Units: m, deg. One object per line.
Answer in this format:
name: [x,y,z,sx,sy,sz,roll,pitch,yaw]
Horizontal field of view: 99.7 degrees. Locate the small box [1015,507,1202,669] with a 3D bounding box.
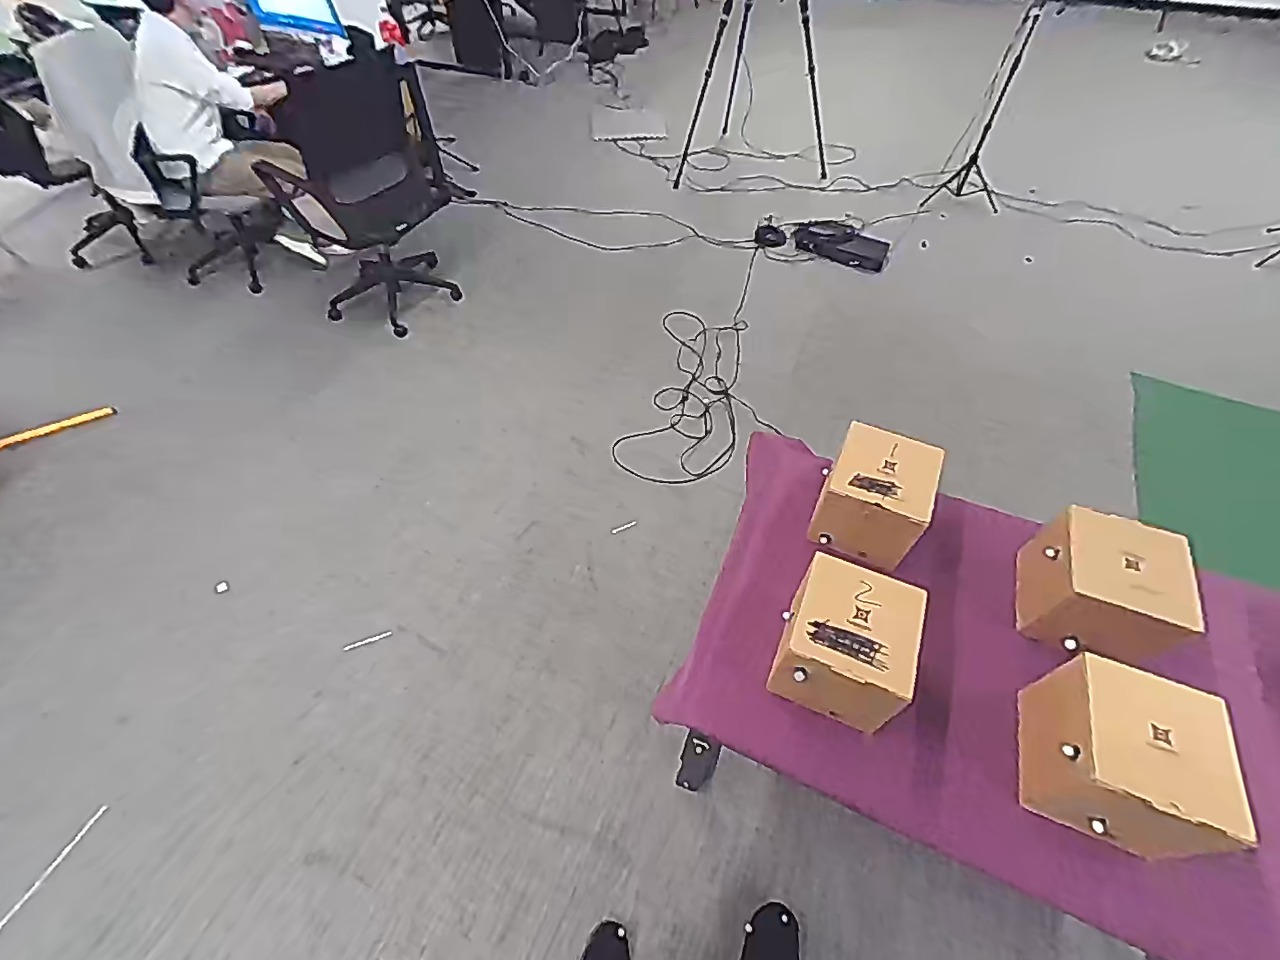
small box: [0.746,0.180,0.885,0.168,0.176,0.179,19,55,16]

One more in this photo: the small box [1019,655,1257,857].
small box: [0.645,0.375,0.731,0.168,0.176,0.179,19,54,14]

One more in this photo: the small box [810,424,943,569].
small box: [0.427,0.035,0.995,0.168,0.176,0.179,22,56,16]
